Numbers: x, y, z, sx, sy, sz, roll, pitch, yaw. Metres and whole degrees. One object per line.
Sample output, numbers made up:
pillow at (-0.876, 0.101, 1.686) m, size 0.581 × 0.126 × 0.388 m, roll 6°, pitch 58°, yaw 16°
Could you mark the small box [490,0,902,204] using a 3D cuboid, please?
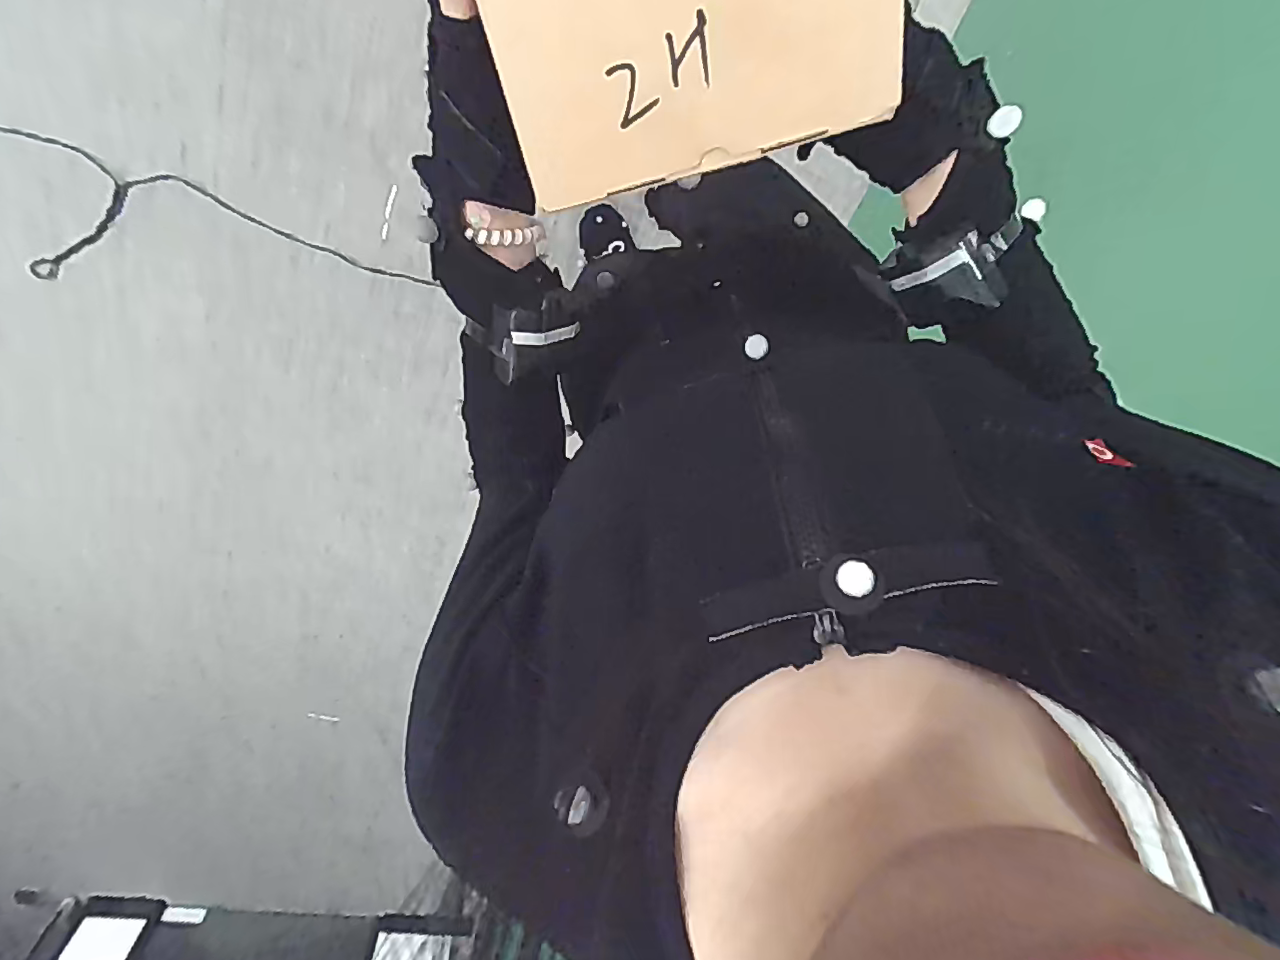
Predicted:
small box at (0.013, -0.258, 0.269) m, size 0.168 × 0.176 × 0.179 m, roll -12°, pitch 123°, yaw 6°
